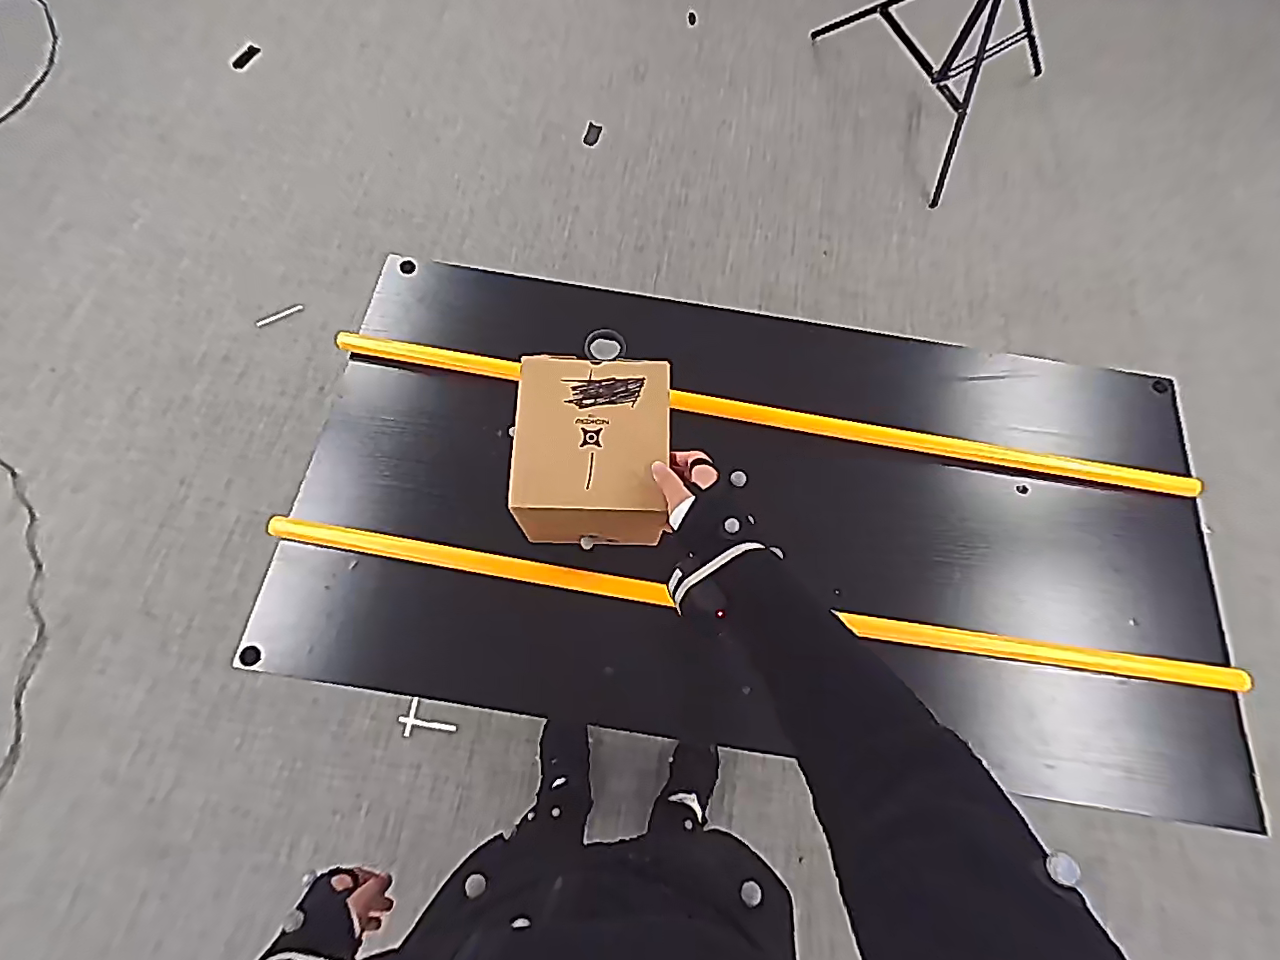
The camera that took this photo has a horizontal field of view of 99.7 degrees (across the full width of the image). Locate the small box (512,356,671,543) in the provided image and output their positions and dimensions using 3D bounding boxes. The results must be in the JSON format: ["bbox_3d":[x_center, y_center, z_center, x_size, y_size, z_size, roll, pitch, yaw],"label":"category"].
[{"bbox_3d":[-0.052,-0.028,0.656,0.168,0.176,0.179,1,72,-2],"label":"small box"}]
